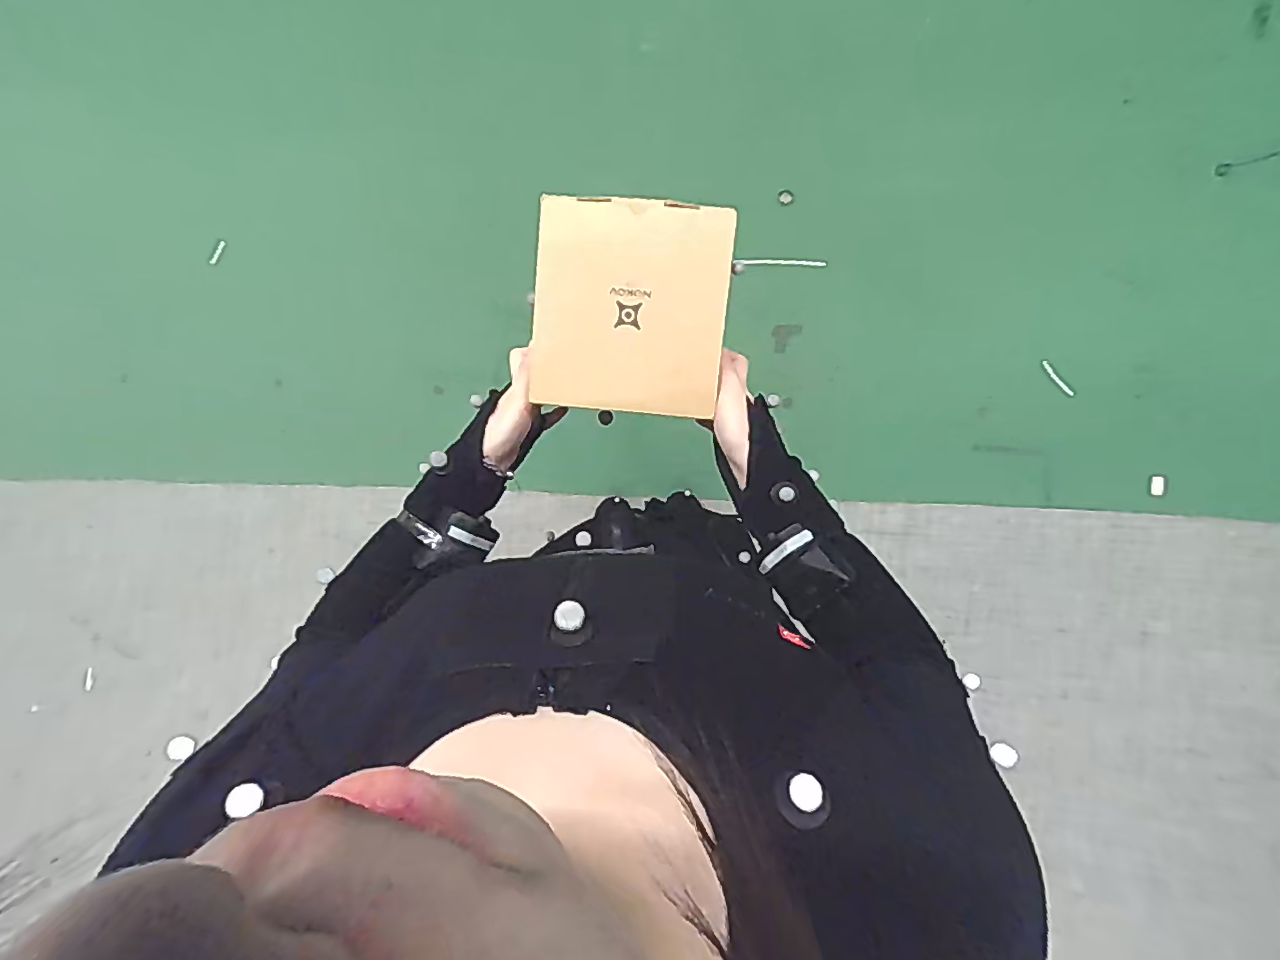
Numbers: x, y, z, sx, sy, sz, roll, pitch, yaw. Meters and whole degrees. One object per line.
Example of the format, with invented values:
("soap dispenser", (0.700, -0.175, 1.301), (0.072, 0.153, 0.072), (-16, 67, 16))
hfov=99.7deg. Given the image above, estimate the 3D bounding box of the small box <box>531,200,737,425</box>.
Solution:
("small box", (-0.002, -0.151, 0.537), (0.168, 0.176, 0.179), (6, 97, 3))
